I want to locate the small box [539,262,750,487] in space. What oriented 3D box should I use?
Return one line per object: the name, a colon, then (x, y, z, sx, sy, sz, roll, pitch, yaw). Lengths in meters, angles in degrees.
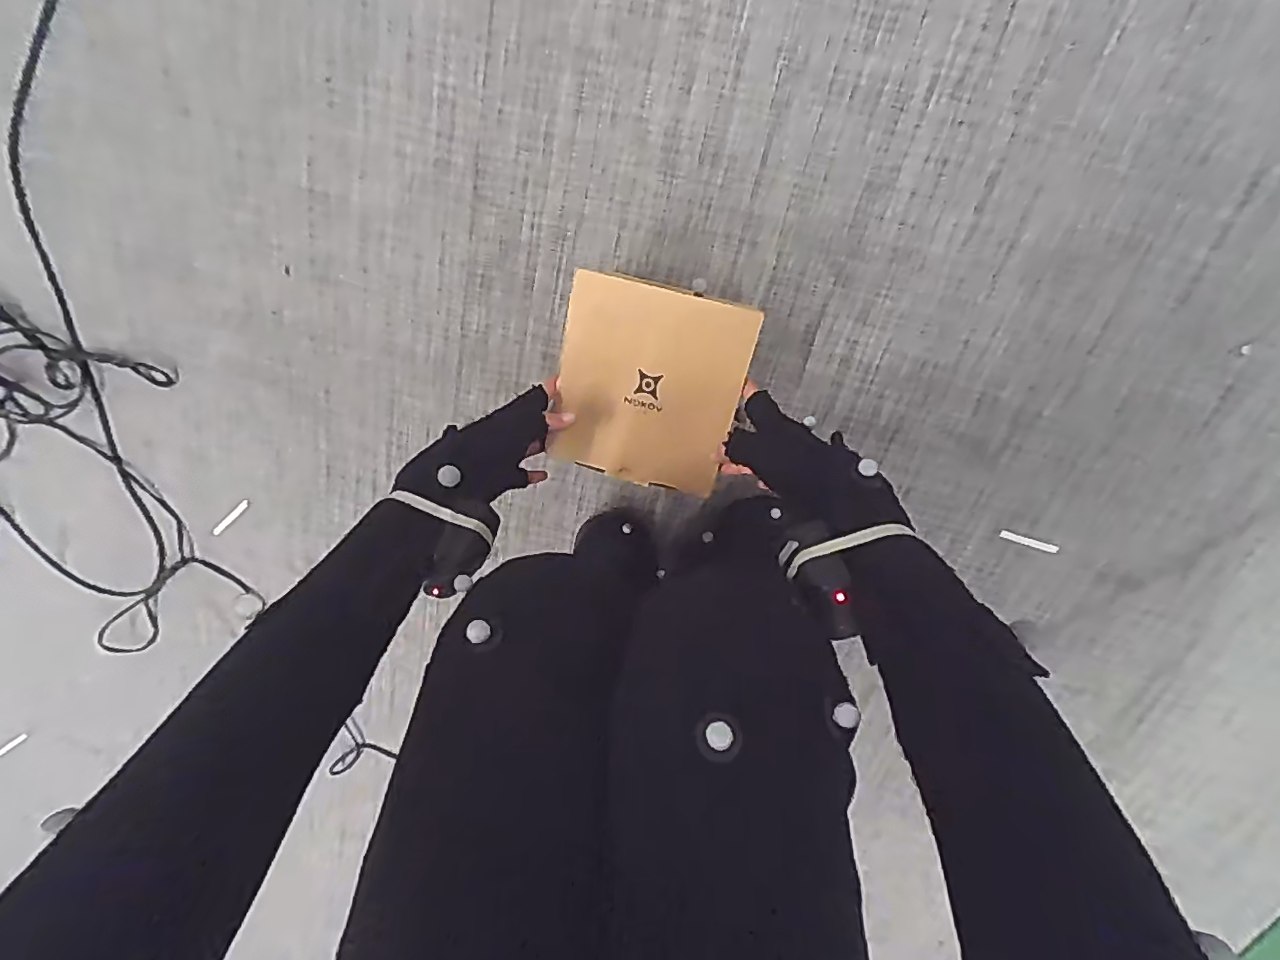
small box: (0.007, -0.118, 0.568, 0.168, 0.176, 0.179, 14, 111, 2)
